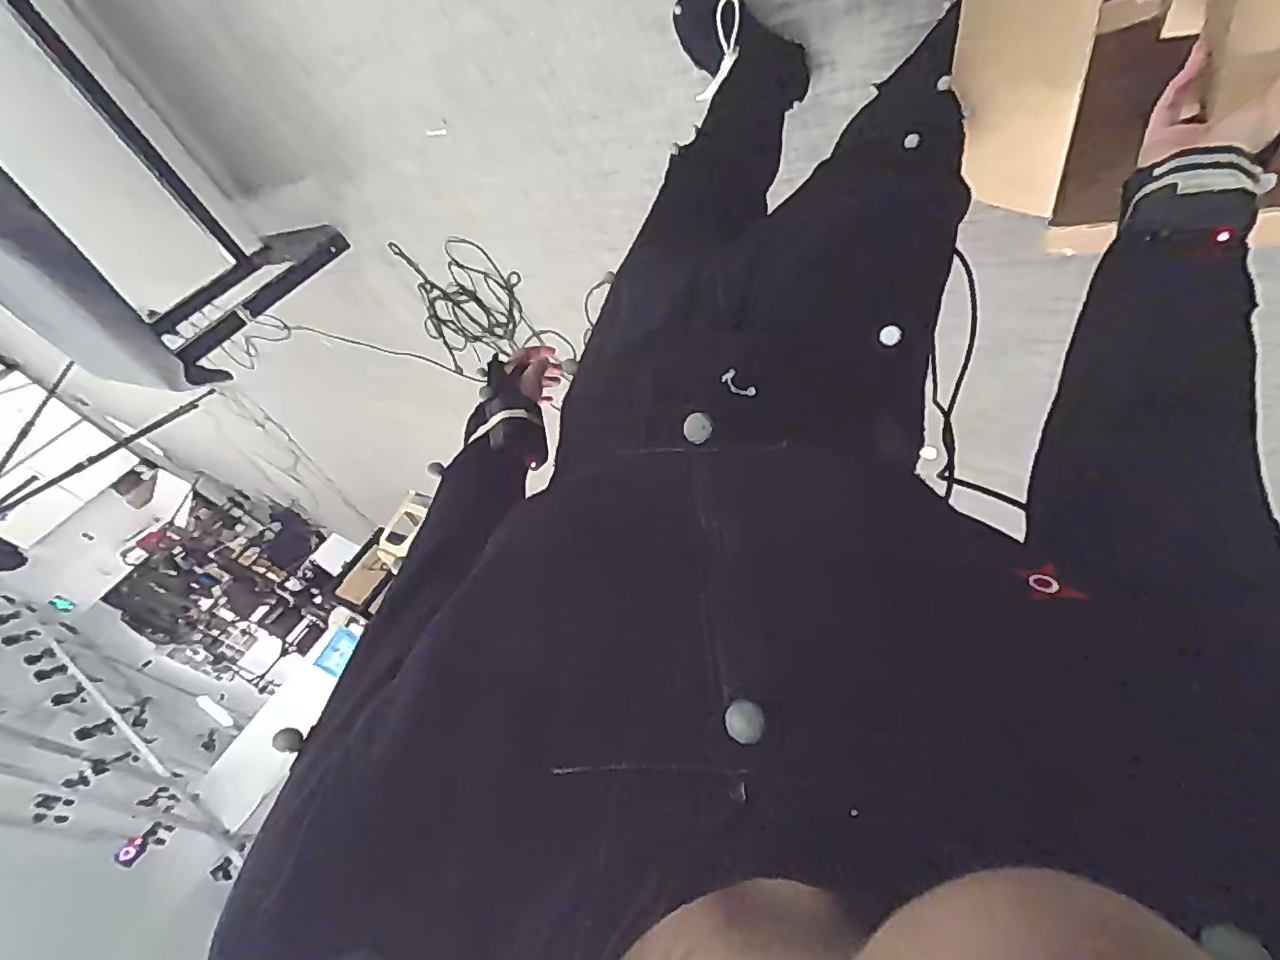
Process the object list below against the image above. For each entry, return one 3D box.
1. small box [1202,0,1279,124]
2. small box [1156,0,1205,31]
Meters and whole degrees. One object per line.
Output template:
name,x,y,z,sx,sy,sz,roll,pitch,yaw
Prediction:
small box,0.495,-0.382,0.349,0.168,0.176,0.179,4,141,39
small box,0.561,-0.505,0.433,0.179,0.176,0.168,14,148,29
